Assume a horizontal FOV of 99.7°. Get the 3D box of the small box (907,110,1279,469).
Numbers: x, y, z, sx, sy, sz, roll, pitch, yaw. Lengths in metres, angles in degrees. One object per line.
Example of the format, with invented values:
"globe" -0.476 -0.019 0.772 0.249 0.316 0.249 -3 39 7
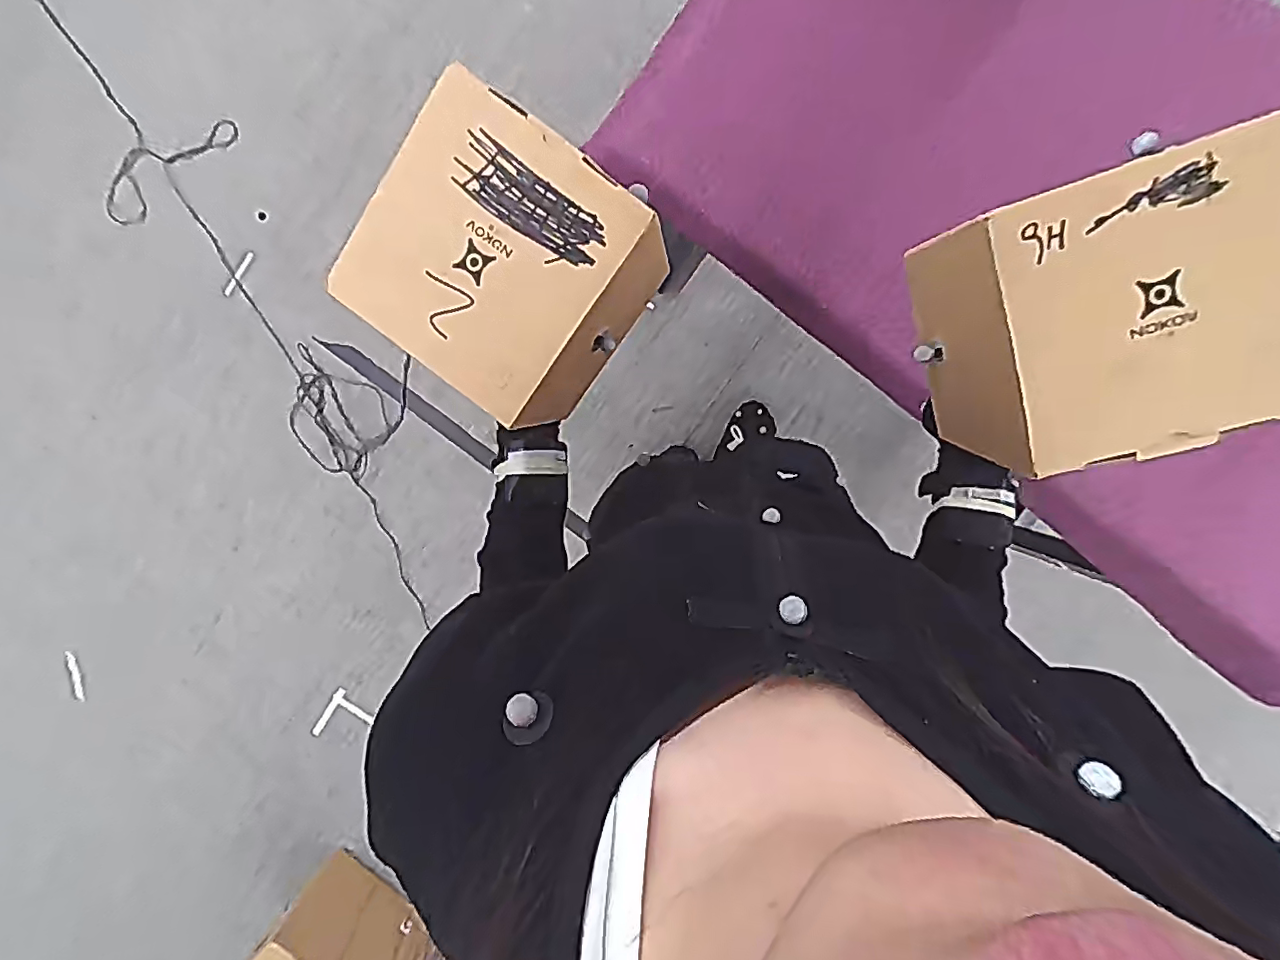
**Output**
"small box" 0.326 -0.128 0.408 0.168 0.176 0.179 -16 102 12
